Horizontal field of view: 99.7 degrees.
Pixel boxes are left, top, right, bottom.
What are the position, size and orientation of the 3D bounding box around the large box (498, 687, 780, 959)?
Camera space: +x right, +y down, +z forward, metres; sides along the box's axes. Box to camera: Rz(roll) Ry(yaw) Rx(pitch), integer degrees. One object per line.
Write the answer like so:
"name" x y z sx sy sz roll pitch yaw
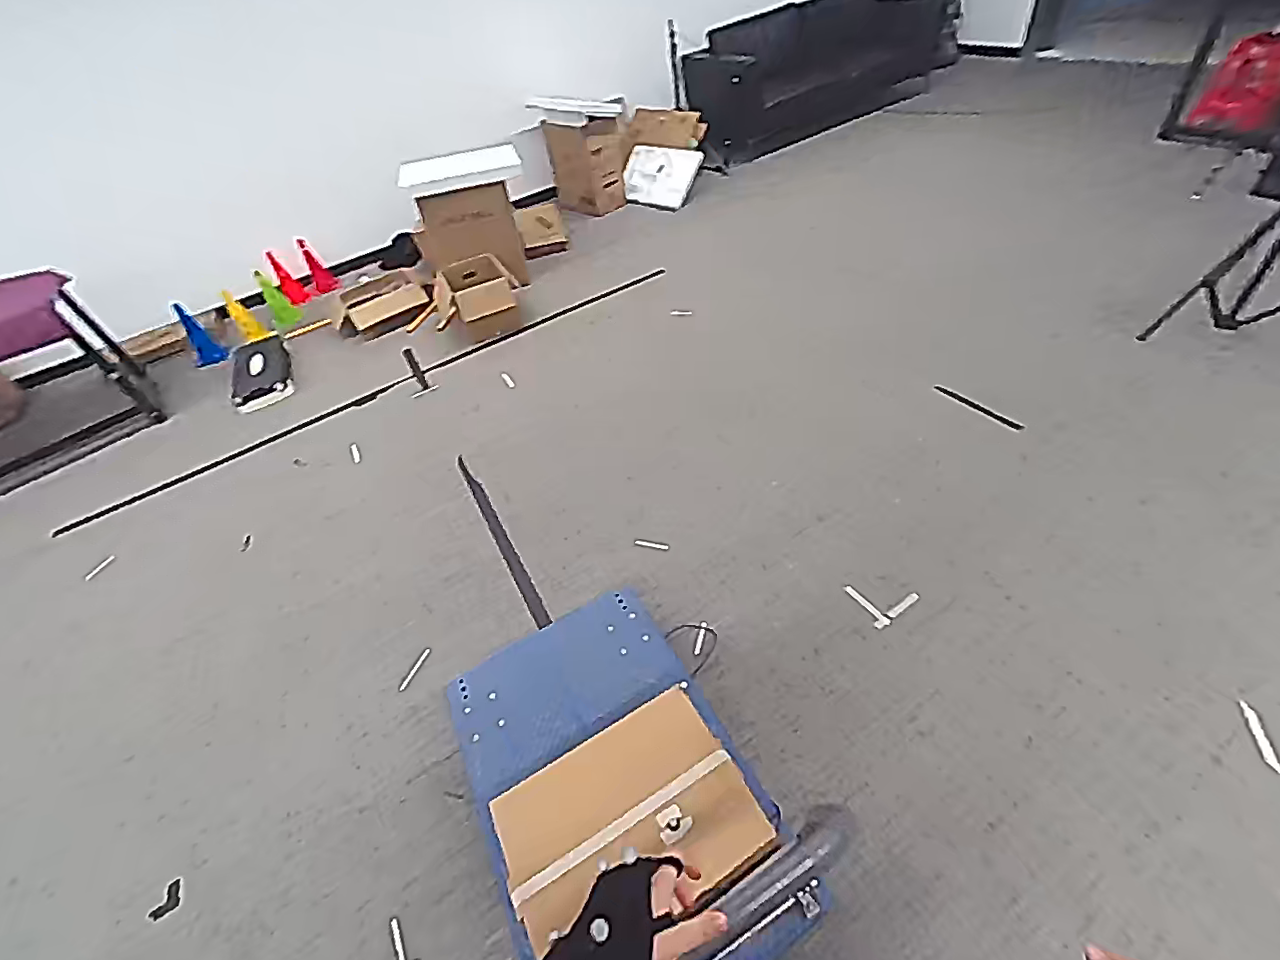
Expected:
"large box" 0.007 0.686 1.021 0.408 0.320 0.320 -26 47 -15
